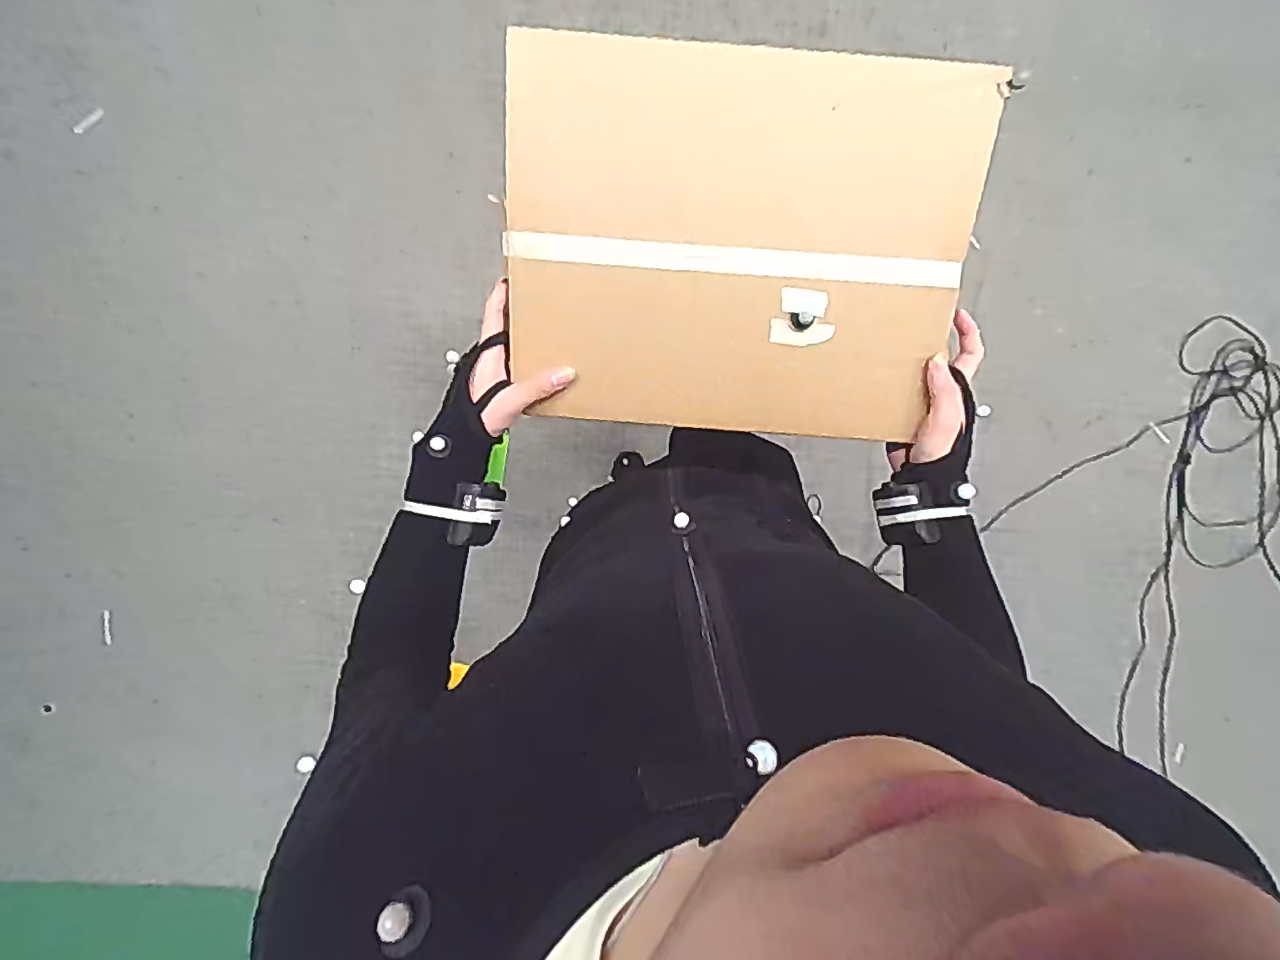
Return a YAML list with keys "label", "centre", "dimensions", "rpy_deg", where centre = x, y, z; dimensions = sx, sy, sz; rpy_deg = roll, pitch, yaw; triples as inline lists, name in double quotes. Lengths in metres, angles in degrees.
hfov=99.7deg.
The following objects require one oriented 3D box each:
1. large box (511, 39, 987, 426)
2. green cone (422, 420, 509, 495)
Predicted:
- label: "large box"
  centre: [0.083, -0.254, 0.633]
  dimensions: [0.408, 0.320, 0.320]
  rpy_deg: [3, 110, -1]
- label: "green cone"
  centre: [-0.488, -0.039, 1.409]
  dimensions: [0.200, 0.368, 0.202]
  rpy_deg: [9, 98, -3]
